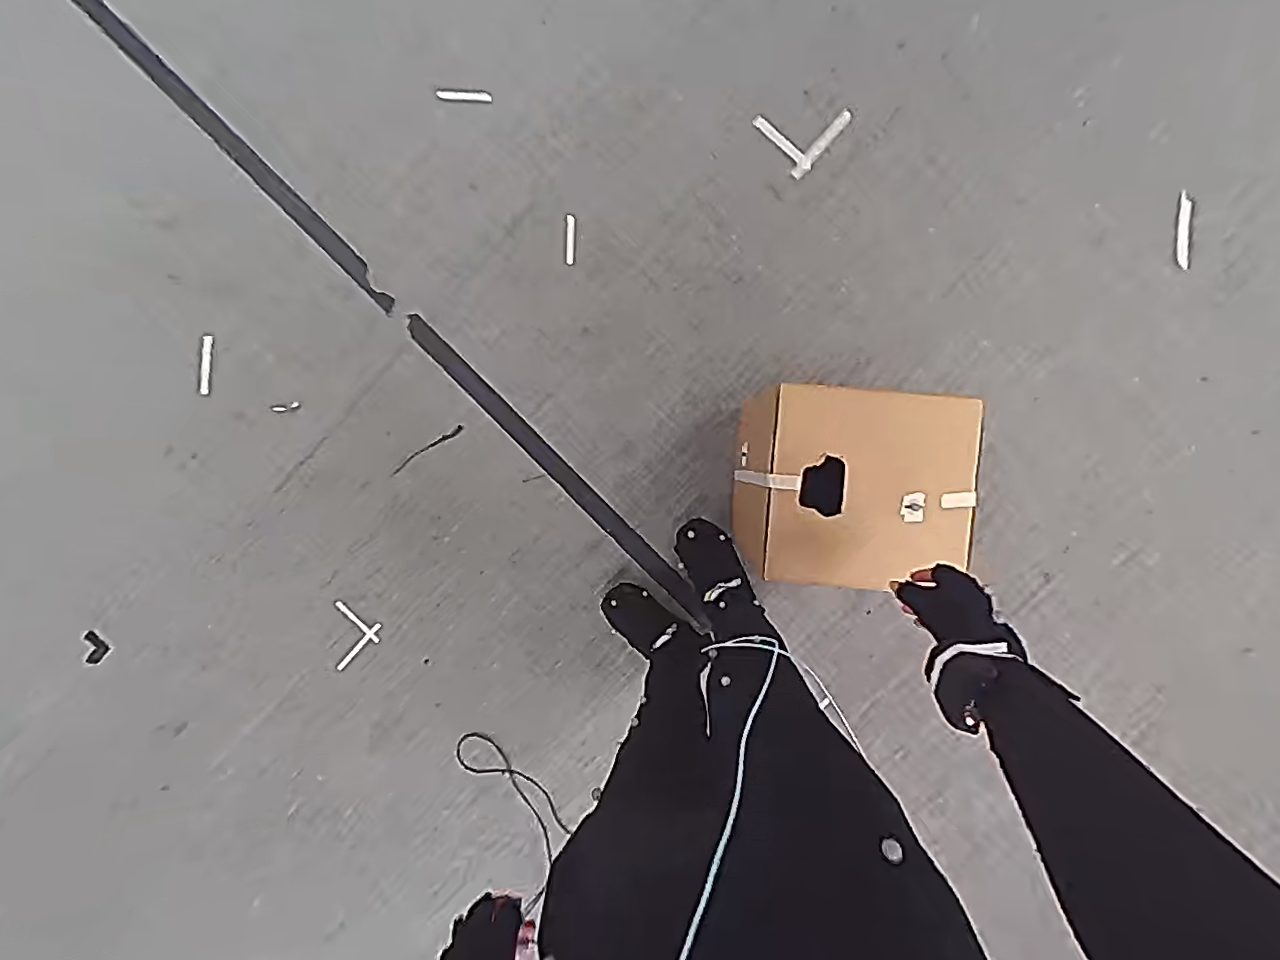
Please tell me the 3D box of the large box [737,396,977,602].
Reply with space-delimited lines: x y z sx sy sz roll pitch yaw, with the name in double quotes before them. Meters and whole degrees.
"large box" 0.371 0.027 1.027 0.320 0.408 0.320 5 93 3
